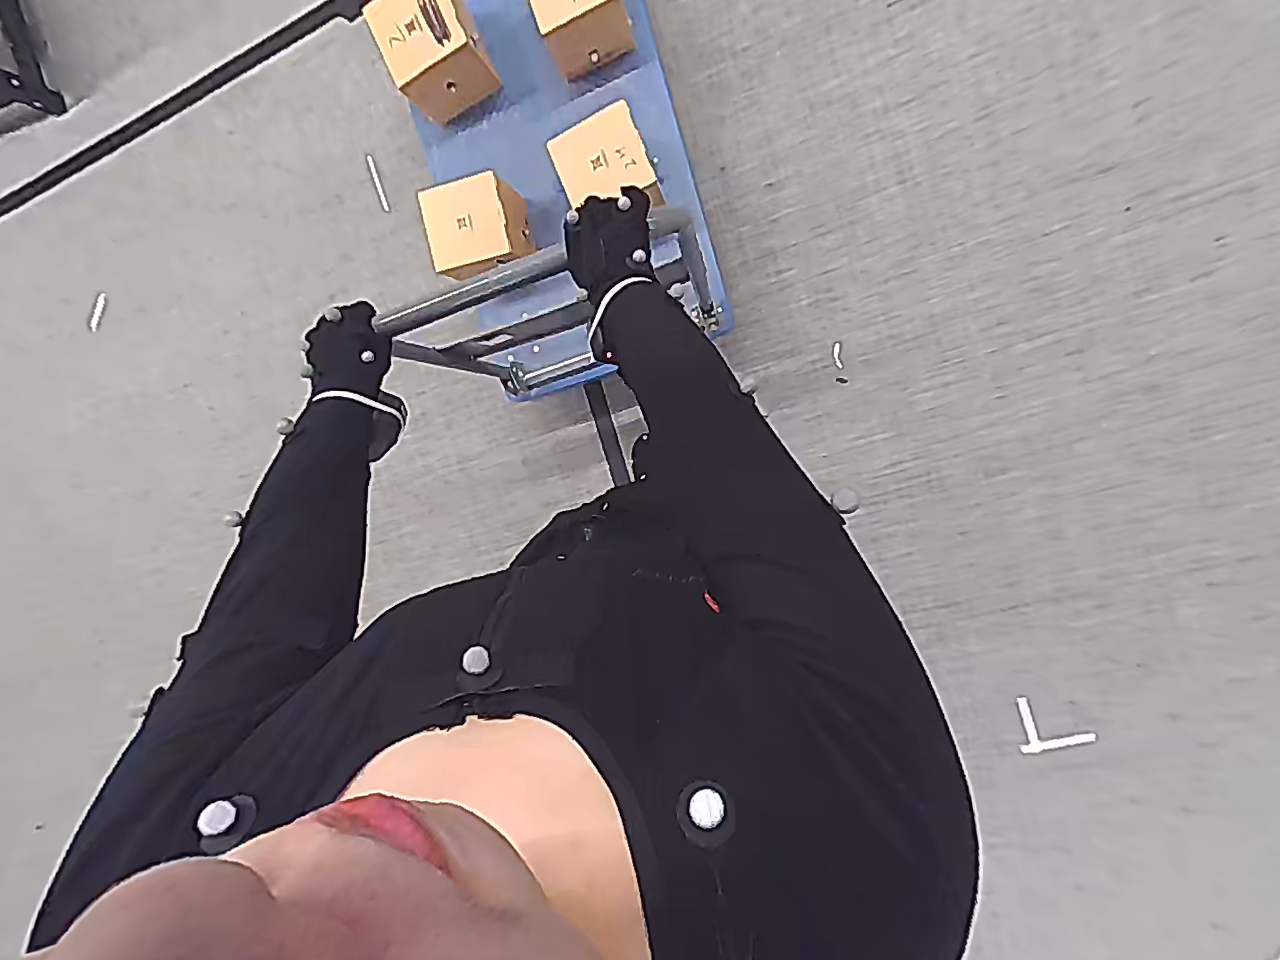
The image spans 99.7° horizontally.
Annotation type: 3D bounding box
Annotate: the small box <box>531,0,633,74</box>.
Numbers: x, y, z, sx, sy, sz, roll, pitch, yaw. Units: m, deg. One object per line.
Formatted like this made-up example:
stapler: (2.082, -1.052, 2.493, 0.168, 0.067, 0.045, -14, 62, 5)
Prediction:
small box: (-0.126, -0.973, 1.081, 0.168, 0.176, 0.179, -17, 97, 13)

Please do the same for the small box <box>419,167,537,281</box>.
small box: (-0.349, -0.553, 1.196, 0.179, 0.176, 0.168, -10, 97, 11)

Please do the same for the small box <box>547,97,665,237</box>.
small box: (-0.062, -0.637, 1.127, 0.179, 0.176, 0.168, -21, 95, 13)
